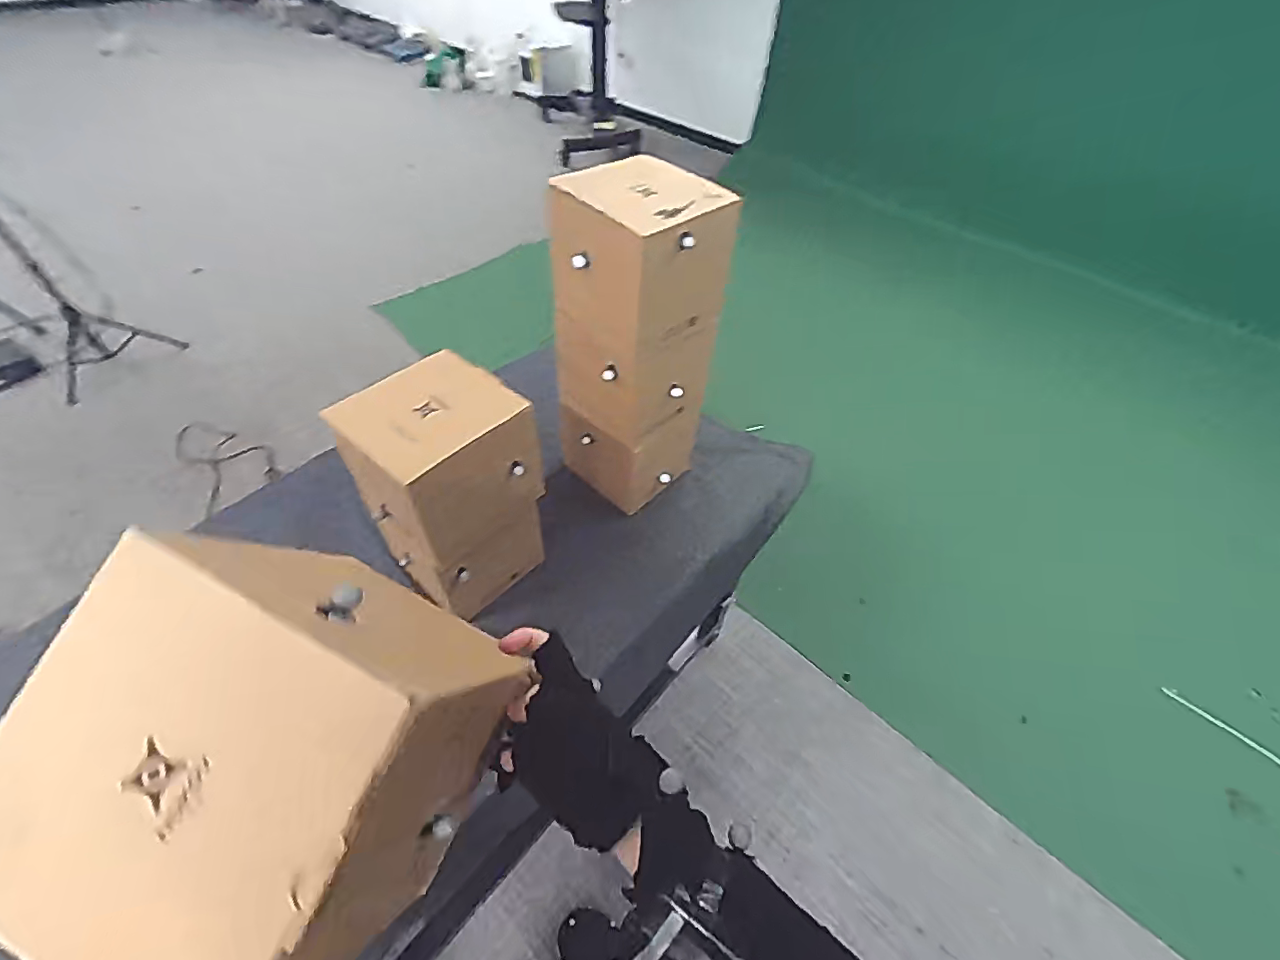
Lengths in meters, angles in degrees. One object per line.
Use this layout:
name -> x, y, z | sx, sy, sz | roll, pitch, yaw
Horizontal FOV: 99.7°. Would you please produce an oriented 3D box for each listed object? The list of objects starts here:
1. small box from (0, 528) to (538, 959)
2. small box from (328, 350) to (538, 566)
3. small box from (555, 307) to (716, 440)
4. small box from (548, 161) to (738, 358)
small box -> -0.188, 0.148, 0.318 | 0.179, 0.176, 0.168 | 25, 81, 10
small box -> -0.245, -0.028, 0.687 | 0.168, 0.176, 0.179 | 33, 55, 24
small box -> -0.009, -0.185, 0.838 | 0.179, 0.176, 0.168 | 38, 57, 26
small box -> -0.001, -0.291, 0.713 | 0.168, 0.176, 0.179 | -35, 59, -28
